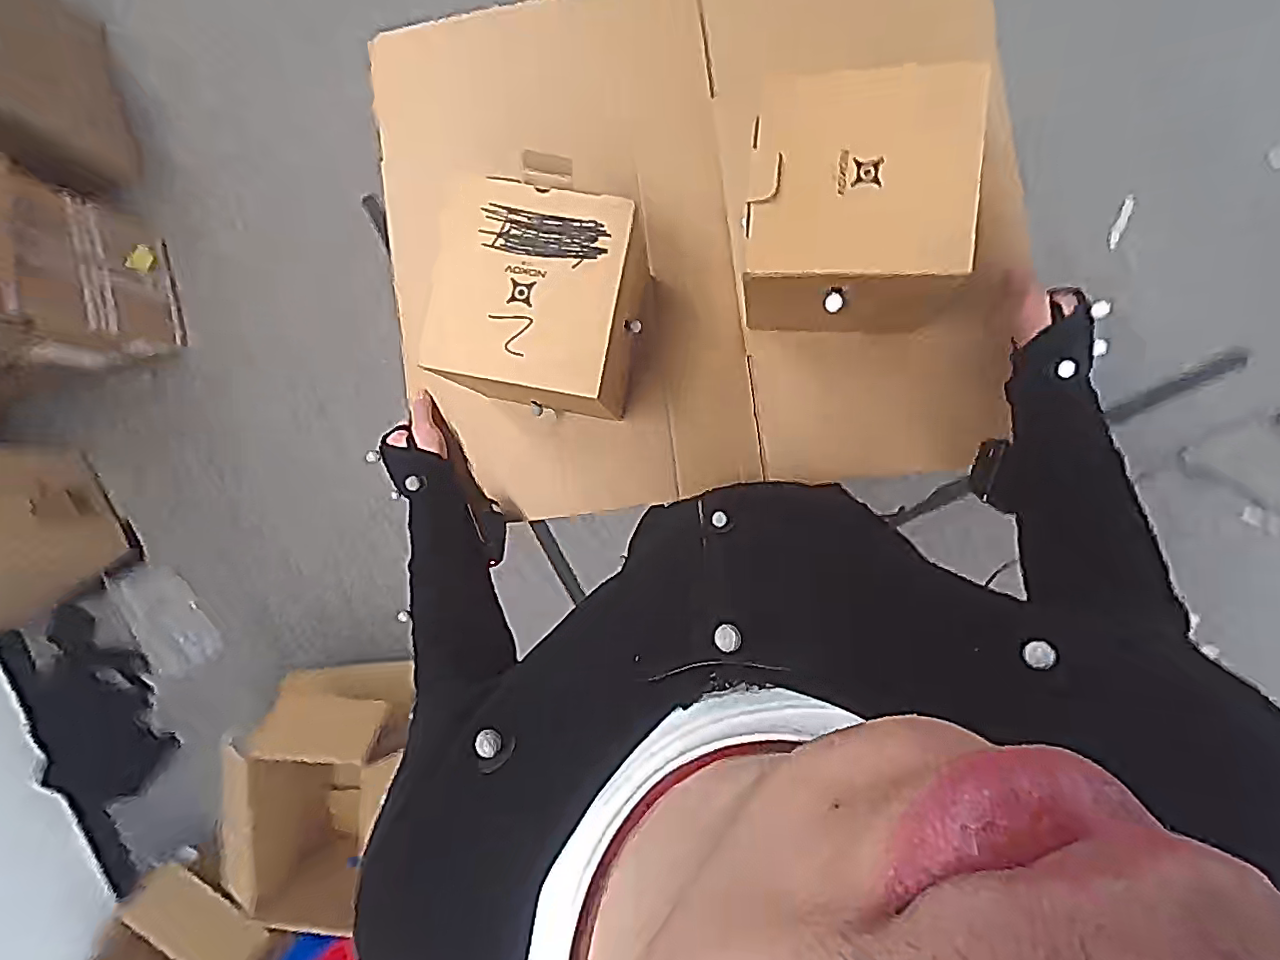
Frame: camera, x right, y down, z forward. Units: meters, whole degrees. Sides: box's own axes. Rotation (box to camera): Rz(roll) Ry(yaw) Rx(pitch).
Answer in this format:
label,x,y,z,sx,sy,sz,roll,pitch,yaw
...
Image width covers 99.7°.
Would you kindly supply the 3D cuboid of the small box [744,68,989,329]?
label,x,y,z,sx,sy,sz,roll,pitch,yaw
small box,0.199,-0.250,0.521,0.179,0.176,0.168,6,91,14
